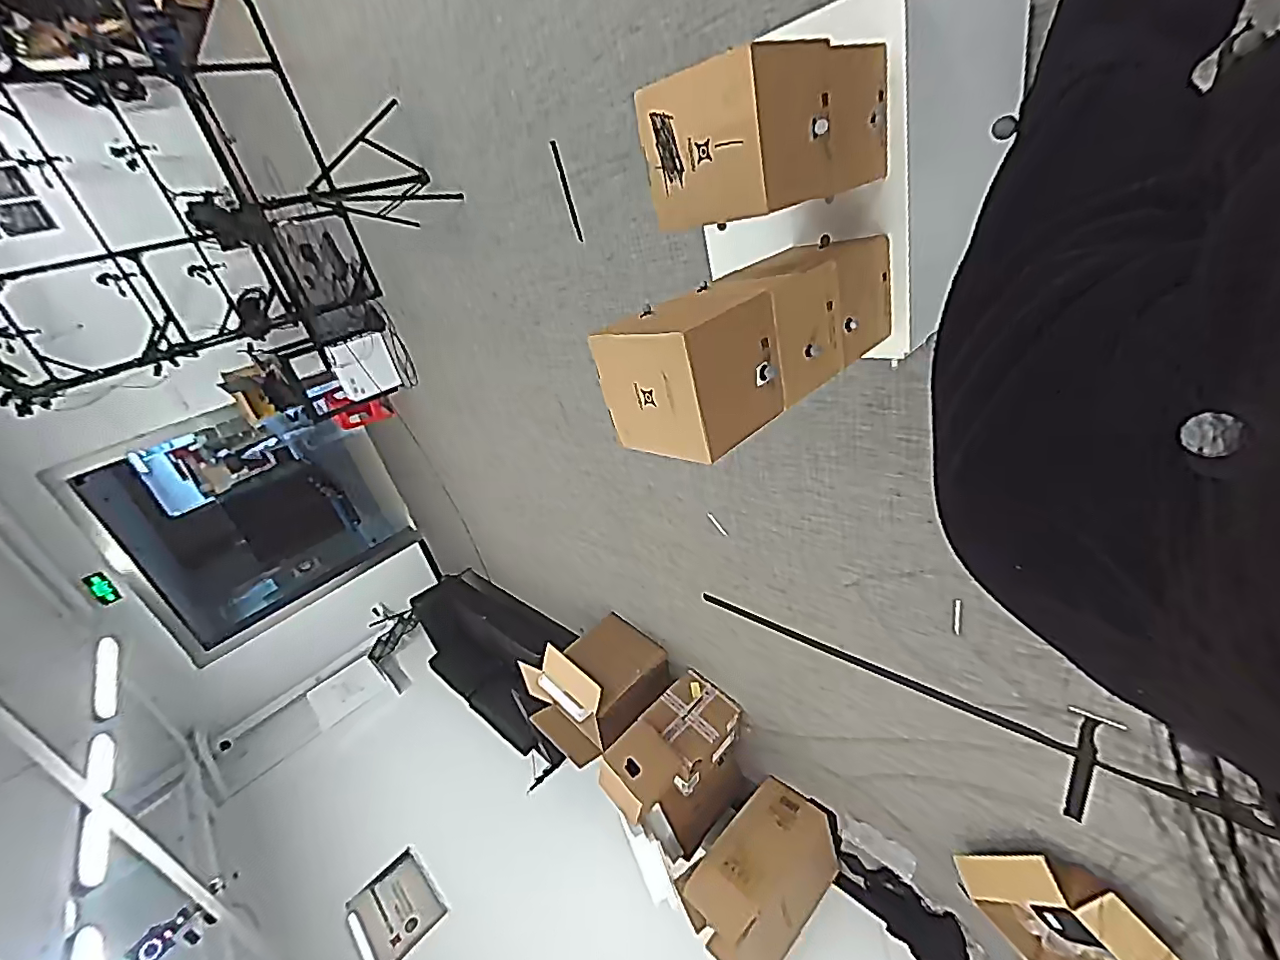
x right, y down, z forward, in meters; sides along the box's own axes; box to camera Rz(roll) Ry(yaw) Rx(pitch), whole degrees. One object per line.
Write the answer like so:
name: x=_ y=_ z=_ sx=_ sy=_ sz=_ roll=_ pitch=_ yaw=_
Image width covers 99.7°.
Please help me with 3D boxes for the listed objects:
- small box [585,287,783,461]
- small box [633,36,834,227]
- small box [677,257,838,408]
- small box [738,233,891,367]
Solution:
small box: x=0.062 y=-0.145 z=0.715 sx=0.179 sy=0.176 sz=0.168 roll=13 pitch=129 yaw=46
small box: x=0.123 y=-0.431 z=0.683 sx=0.179 sy=0.176 sz=0.168 roll=16 pitch=131 yaw=43
small box: x=0.177 y=-0.220 z=0.802 sx=0.179 sy=0.176 sz=0.168 roll=15 pitch=129 yaw=46
small box: x=0.290 y=-0.296 z=0.892 sx=0.179 sy=0.176 sz=0.168 roll=16 pitch=130 yaw=46
